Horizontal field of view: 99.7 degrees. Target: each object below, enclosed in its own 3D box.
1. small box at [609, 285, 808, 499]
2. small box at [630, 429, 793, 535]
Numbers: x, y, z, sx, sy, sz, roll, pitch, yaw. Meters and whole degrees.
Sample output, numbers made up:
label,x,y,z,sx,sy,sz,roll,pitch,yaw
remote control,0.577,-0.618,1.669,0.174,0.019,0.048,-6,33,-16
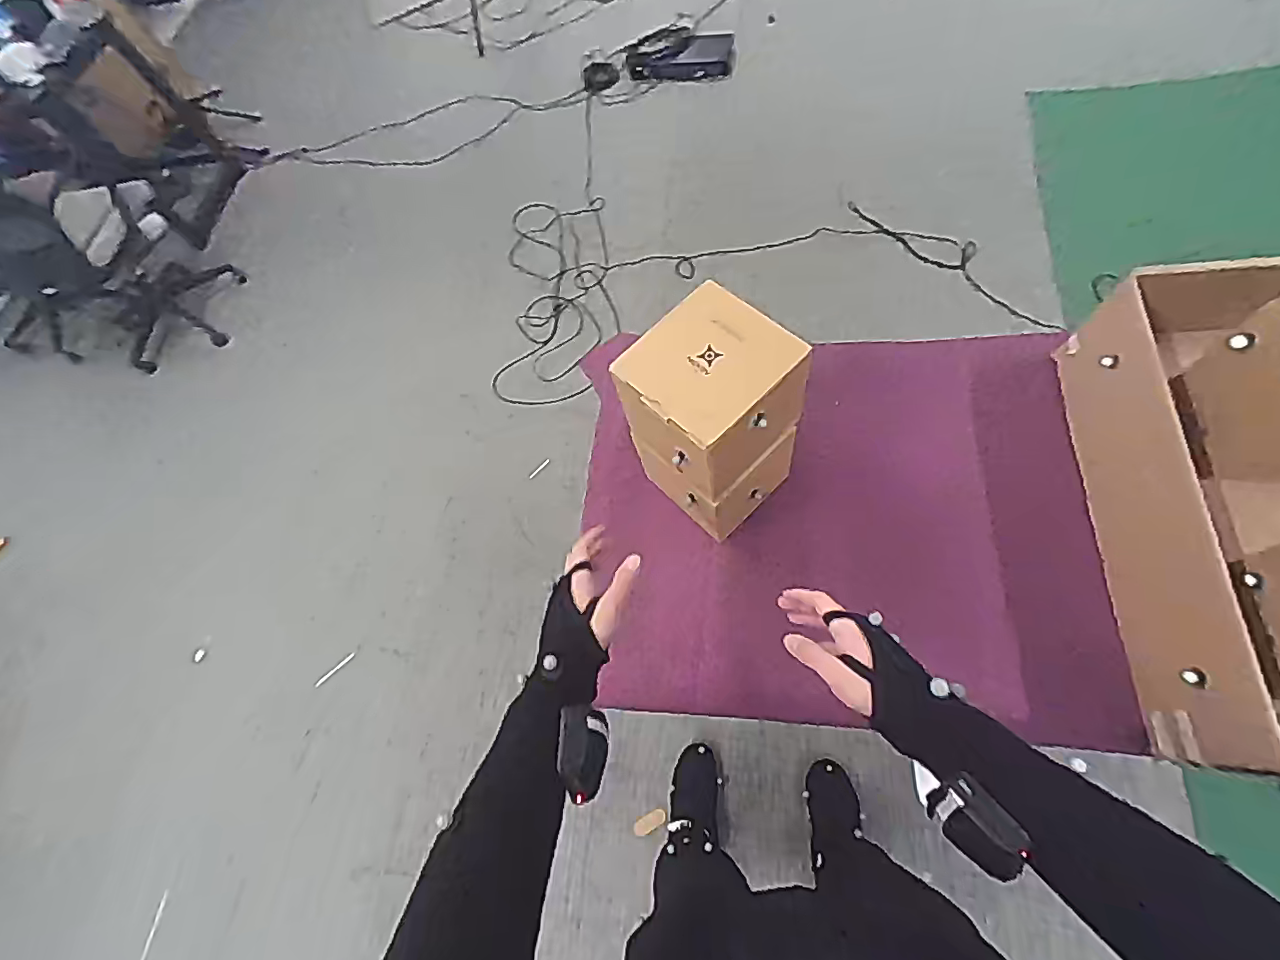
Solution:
label,x,y,z,sx,sy,sz,roll,pitch,yaw
small box,0.091,-0.104,0.698,0.179,0.176,0.168,-43,67,-9
small box,0.113,-0.034,0.844,0.168,0.176,0.179,-43,66,-10
